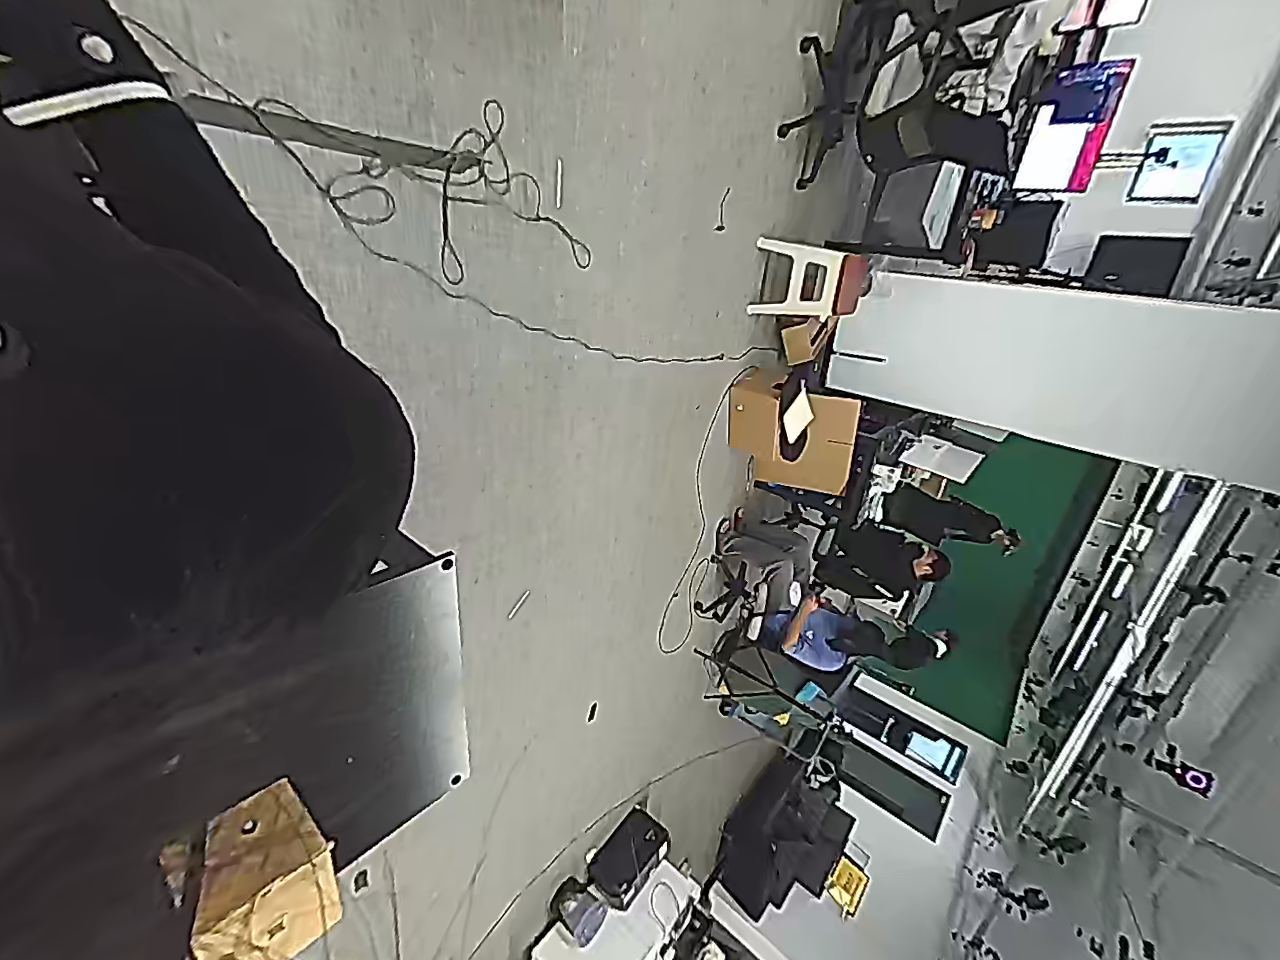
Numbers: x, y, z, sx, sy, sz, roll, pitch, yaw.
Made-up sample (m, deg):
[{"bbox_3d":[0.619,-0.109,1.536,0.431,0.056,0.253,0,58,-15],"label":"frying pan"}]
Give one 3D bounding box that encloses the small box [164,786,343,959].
[{"bbox_3d":[-0.577,0.614,0.815,0.168,0.176,0.179,-21,124,-47],"label":"small box"}]
